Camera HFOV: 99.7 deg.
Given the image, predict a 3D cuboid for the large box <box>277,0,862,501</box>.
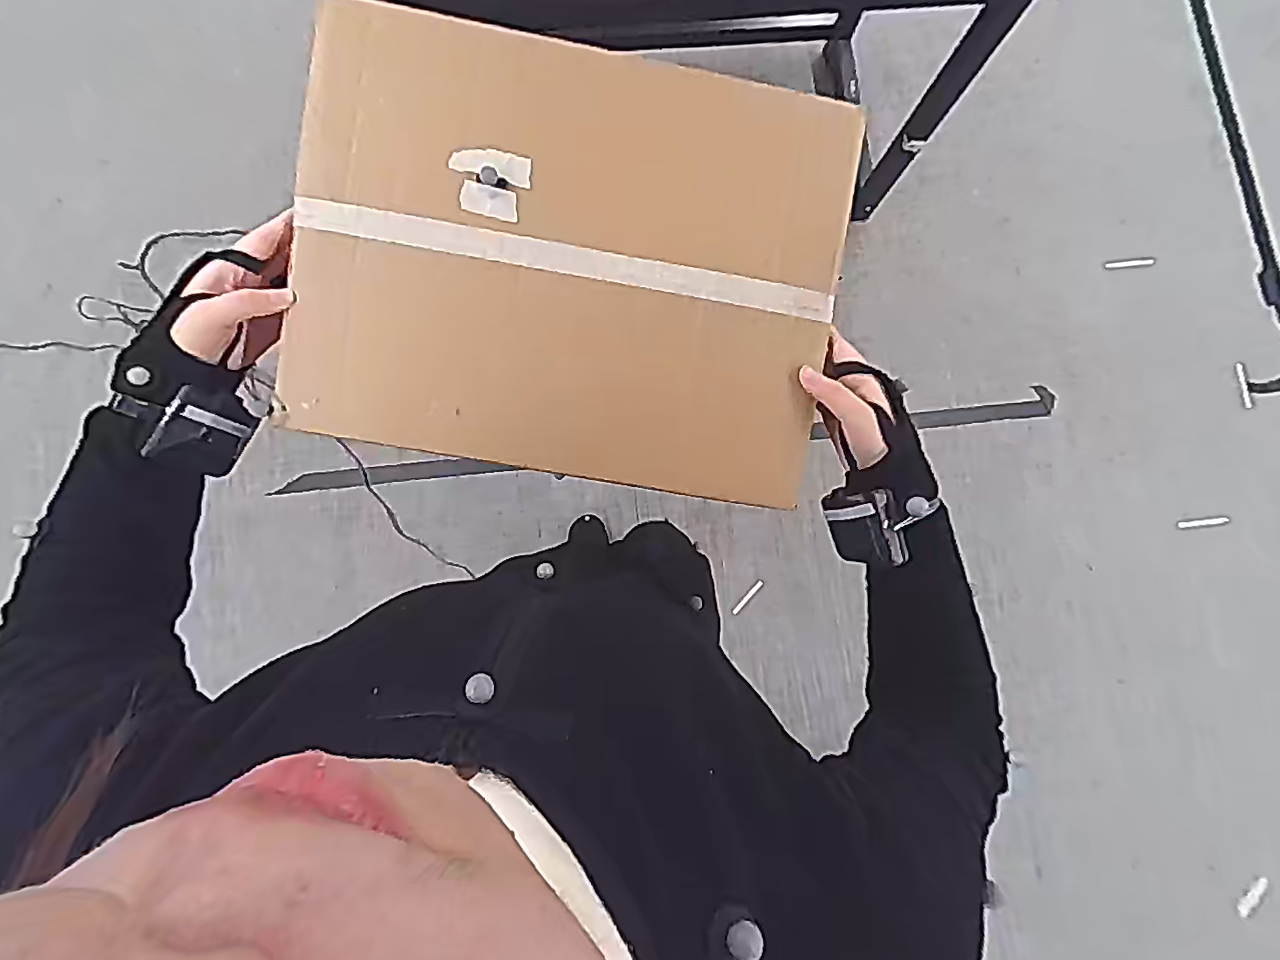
[{"bbox_3d":[-0.056,-0.173,0.547,0.408,0.320,0.320,9,93,-3],"label":"large box"}]
